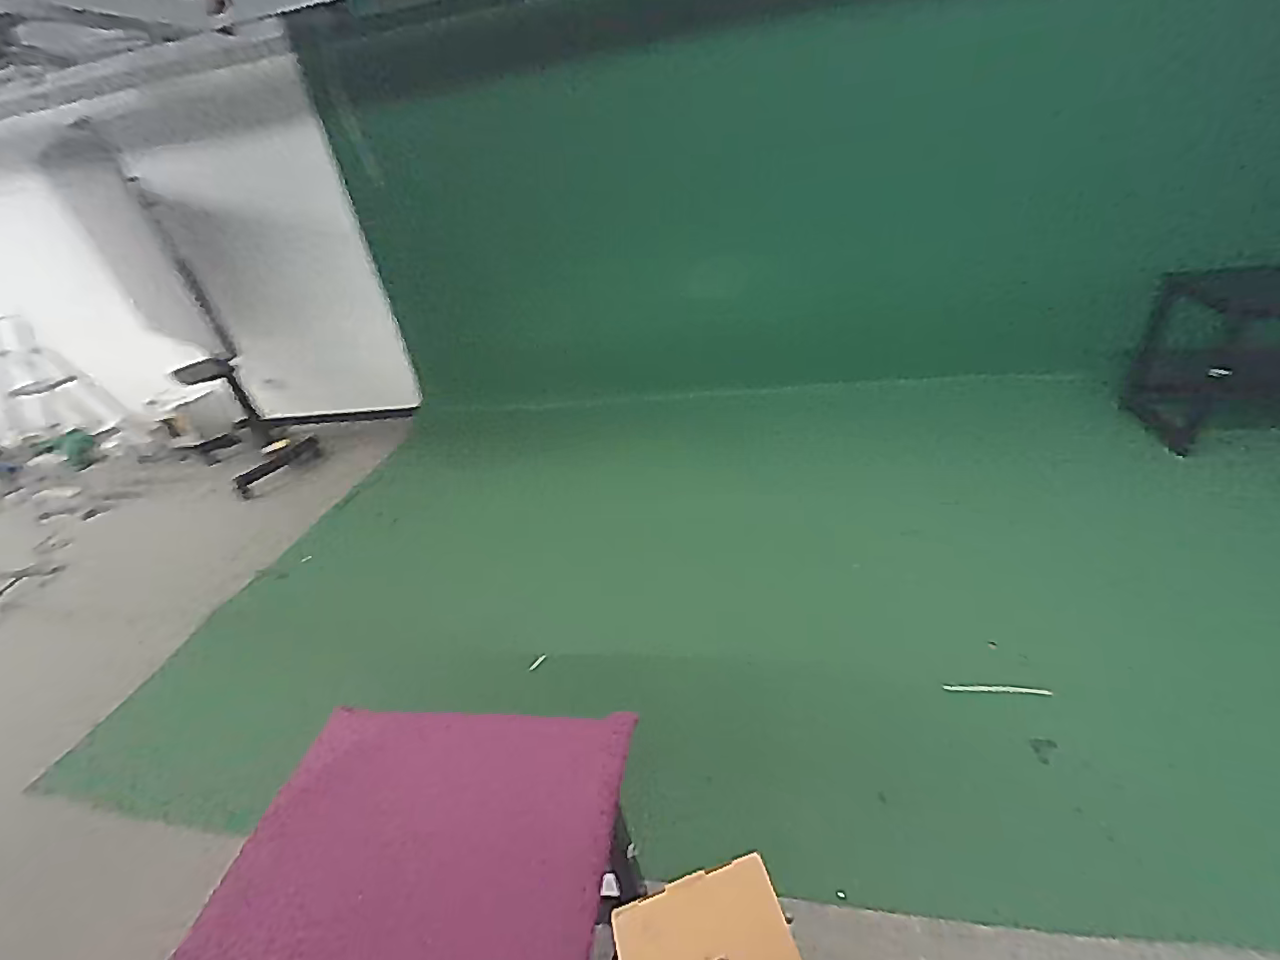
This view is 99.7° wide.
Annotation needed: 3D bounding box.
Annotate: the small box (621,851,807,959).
[{"bbox_3d":[0.091,0.526,0.548,0.168,0.176,0.179,-18,37,-4],"label":"small box"}]
